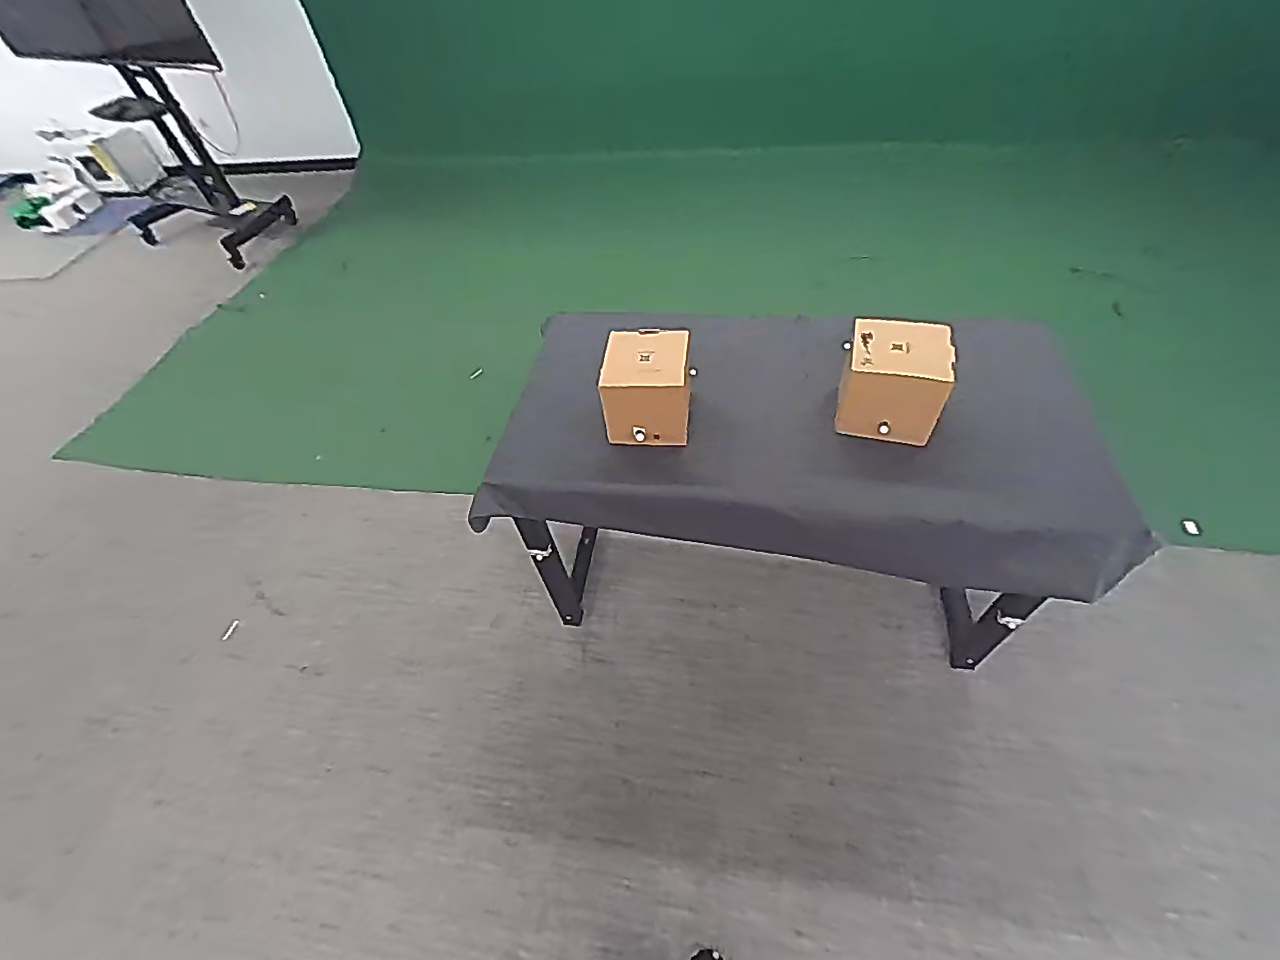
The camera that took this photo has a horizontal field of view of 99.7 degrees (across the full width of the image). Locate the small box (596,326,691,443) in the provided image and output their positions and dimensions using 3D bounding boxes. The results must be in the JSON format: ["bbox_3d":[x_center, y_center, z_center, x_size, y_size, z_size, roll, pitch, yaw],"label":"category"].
[{"bbox_3d":[0.016,-0.199,1.116,0.168,0.176,0.179,2,51,10],"label":"small box"}]

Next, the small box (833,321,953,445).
[{"bbox_3d":[0.498,-0.190,1.078,0.179,0.176,0.168,11,53,14],"label":"small box"}]
